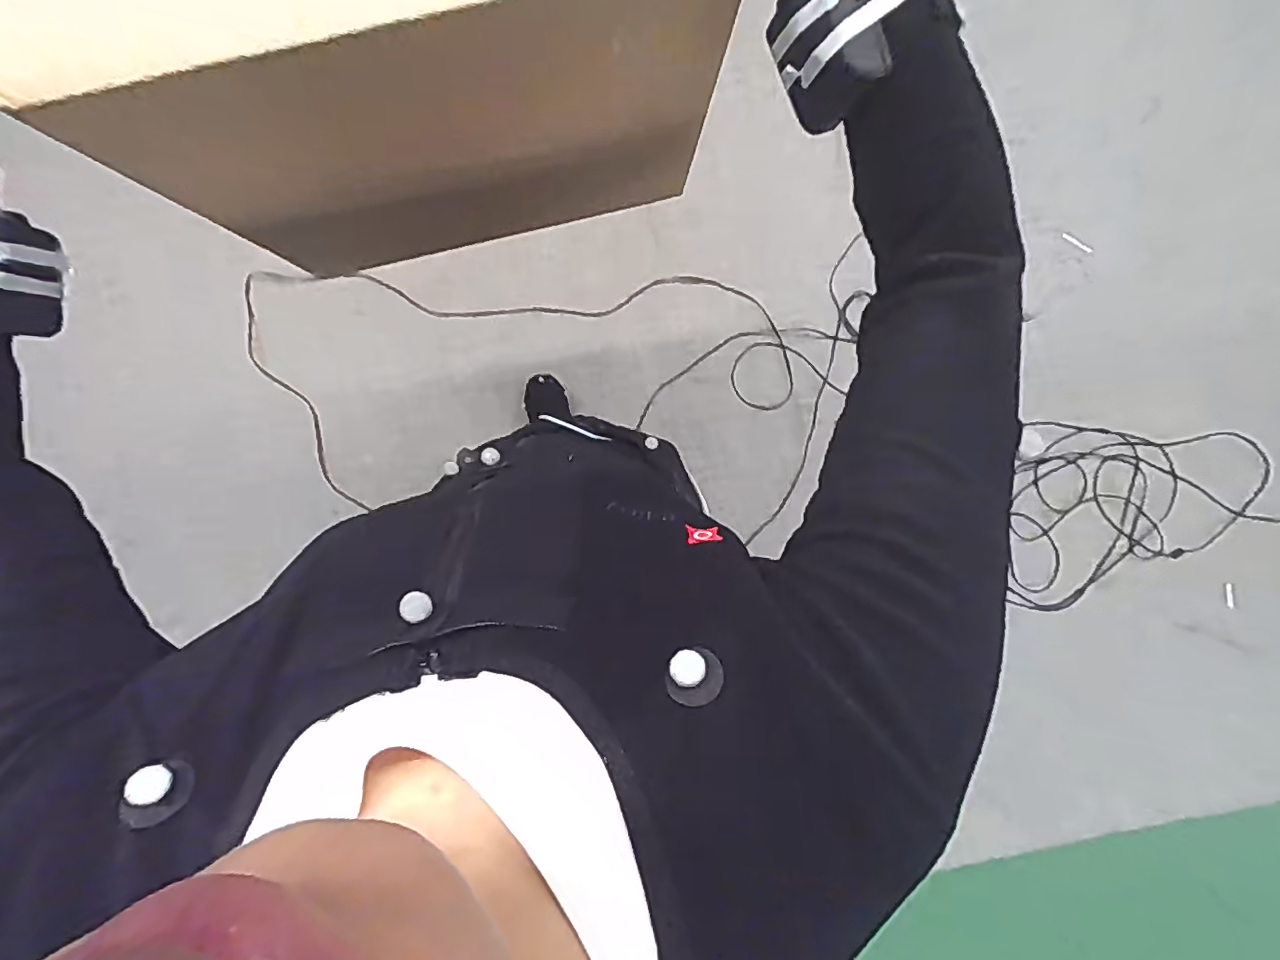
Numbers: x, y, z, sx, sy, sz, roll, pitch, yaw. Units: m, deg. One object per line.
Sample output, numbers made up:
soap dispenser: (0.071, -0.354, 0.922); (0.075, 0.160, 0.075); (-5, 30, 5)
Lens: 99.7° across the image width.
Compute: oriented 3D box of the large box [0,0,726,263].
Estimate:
large box: (-0.178, -0.411, 0.423); (0.408, 0.320, 0.320); (-14, 96, -3)
